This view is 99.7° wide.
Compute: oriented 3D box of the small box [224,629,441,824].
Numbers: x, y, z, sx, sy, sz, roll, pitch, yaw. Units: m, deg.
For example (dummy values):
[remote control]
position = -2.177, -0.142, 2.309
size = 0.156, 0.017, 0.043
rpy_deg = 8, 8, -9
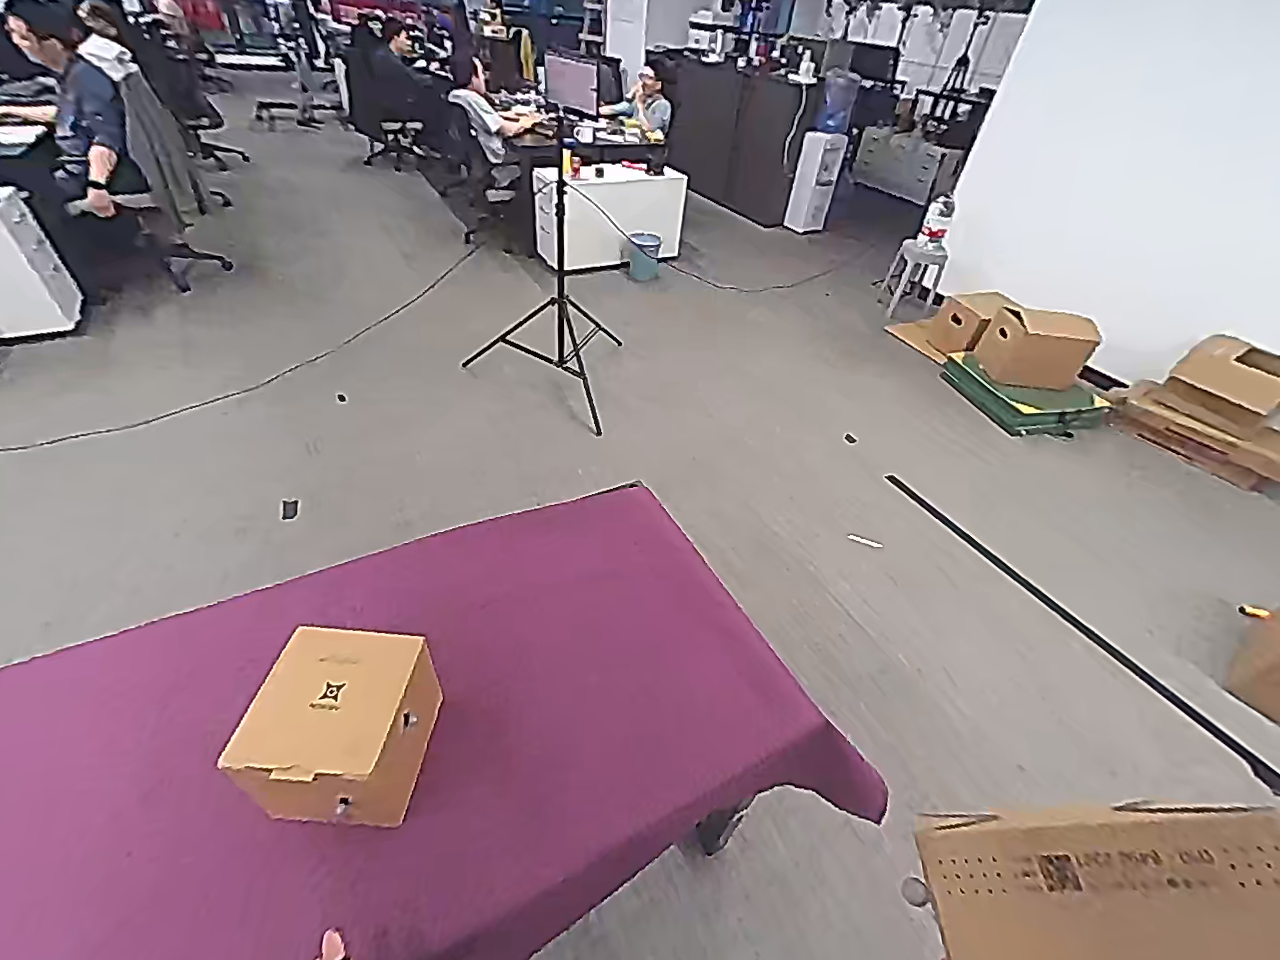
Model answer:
[small box]
position = -0.370, 0.319, 0.697
size = 0.168, 0.176, 0.179
rpy_deg = 5, 41, -2
